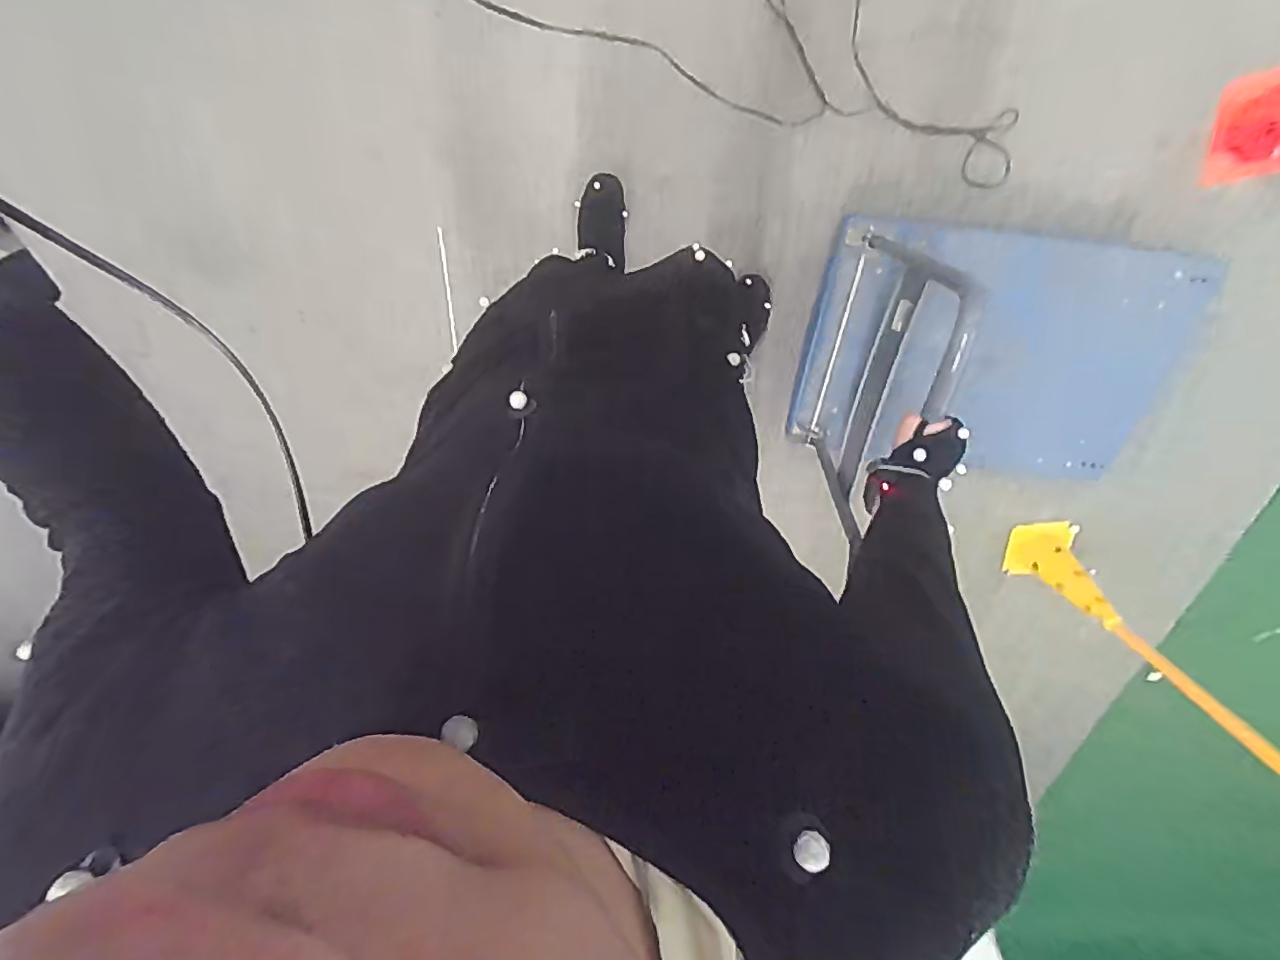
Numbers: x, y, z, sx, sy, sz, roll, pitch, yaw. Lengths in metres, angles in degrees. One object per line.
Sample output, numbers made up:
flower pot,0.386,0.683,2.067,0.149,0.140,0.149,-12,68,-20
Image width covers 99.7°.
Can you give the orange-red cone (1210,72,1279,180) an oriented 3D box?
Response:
orange-red cone,1.394,-0.709,1.056,0.198,0.360,0.199,-9,118,7
